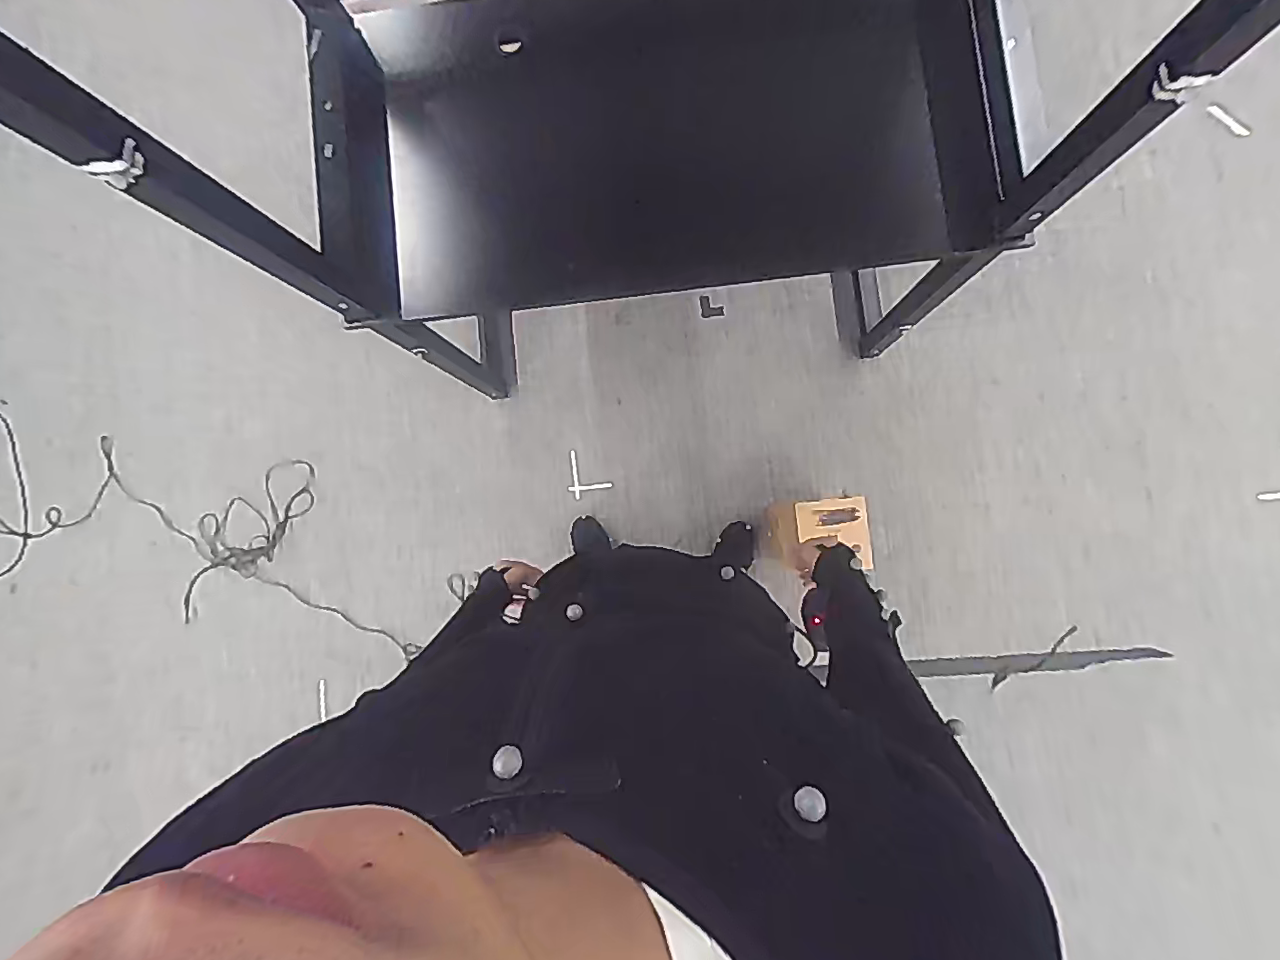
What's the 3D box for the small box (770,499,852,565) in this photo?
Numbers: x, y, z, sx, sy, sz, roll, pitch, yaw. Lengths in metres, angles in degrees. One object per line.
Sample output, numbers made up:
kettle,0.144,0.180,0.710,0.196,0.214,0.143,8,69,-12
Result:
small box,0.475,0.142,1.520,0.179,0.176,0.168,-7,86,5
